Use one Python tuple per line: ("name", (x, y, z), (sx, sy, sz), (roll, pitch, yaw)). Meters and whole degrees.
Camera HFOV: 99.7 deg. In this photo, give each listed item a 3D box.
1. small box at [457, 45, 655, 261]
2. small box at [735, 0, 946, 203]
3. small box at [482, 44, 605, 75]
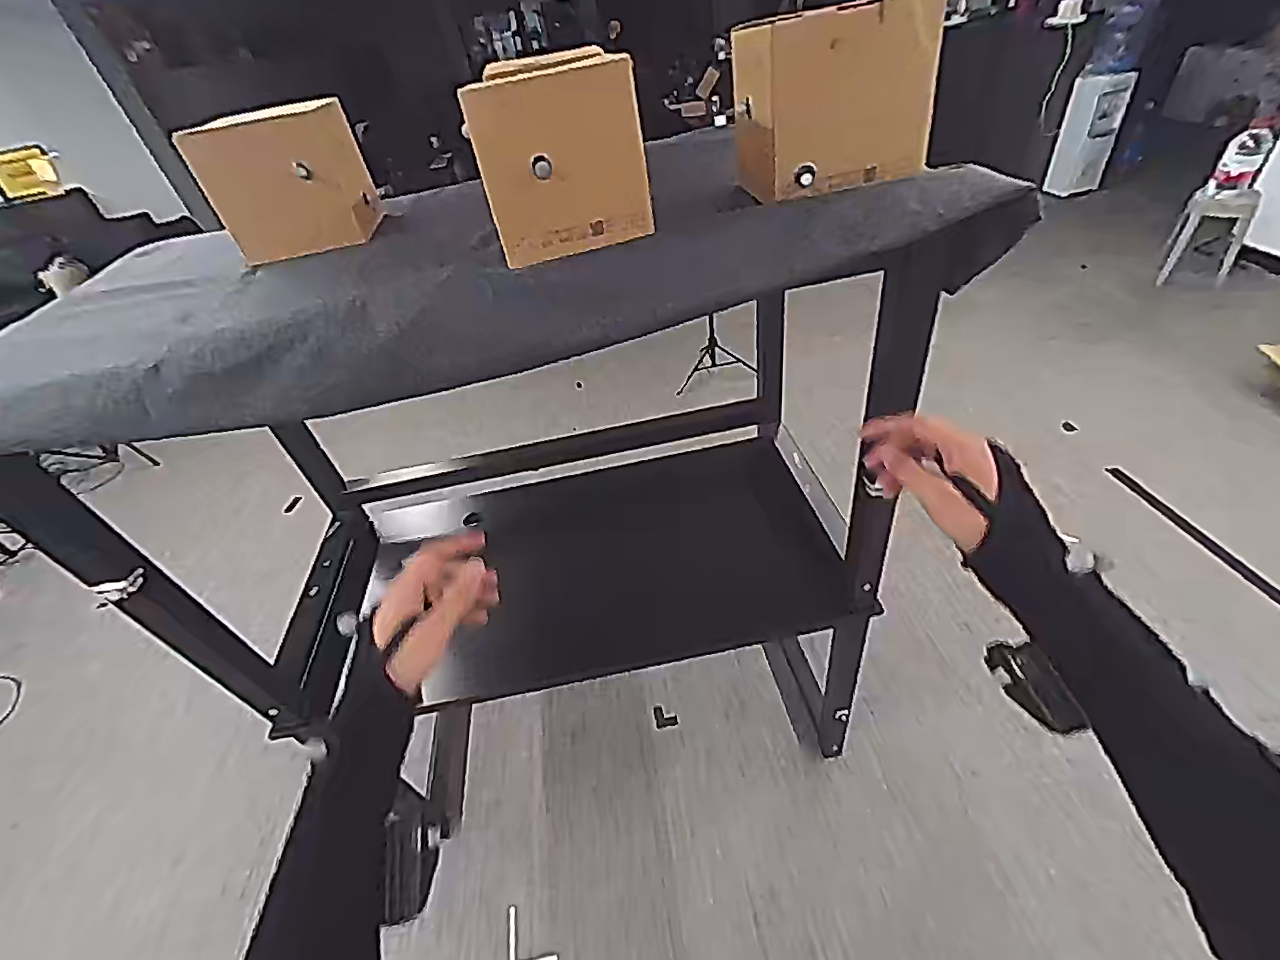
("small box", (-0.085, -0.357, 0.599), (0.168, 0.176, 0.179), (-13, 38, -2))
("small box", (0.209, -0.421, 0.599), (0.168, 0.176, 0.179), (-11, 37, 1))
("small box", (-0.125, -0.533, 0.811), (0.168, 0.176, 0.179), (-13, 40, -1))
